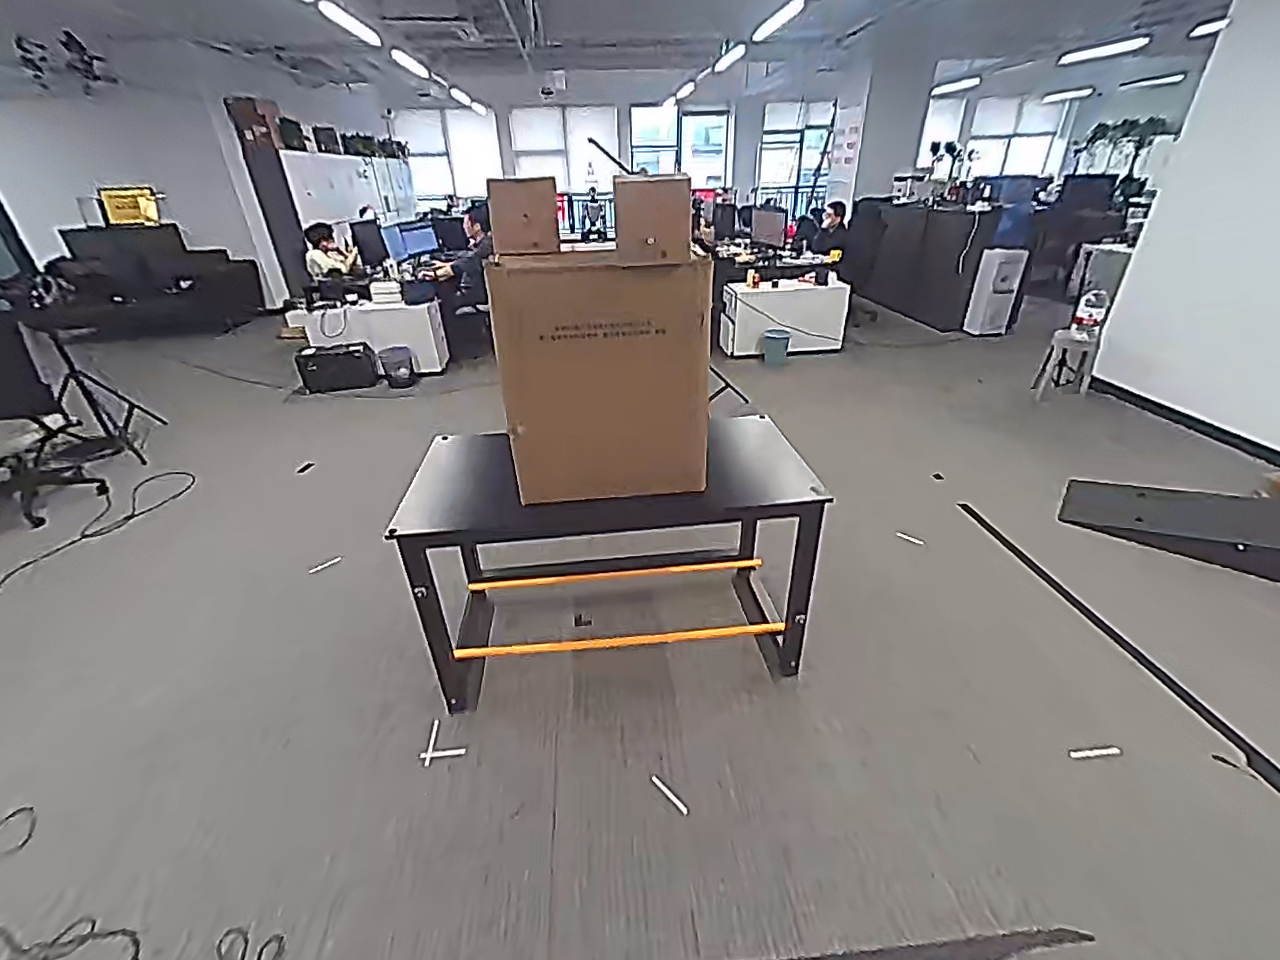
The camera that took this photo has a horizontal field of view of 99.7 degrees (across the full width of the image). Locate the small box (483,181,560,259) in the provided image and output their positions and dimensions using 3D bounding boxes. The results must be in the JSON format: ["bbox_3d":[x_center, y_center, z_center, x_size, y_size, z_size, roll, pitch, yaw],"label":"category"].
[{"bbox_3d":[-0.296,-0.661,1.379,0.168,0.176,0.179,-6,29,-7],"label":"small box"}]

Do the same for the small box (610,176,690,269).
[{"bbox_3d":[0.024,-0.580,1.217,0.168,0.176,0.179,-4,33,2],"label":"small box"}]
